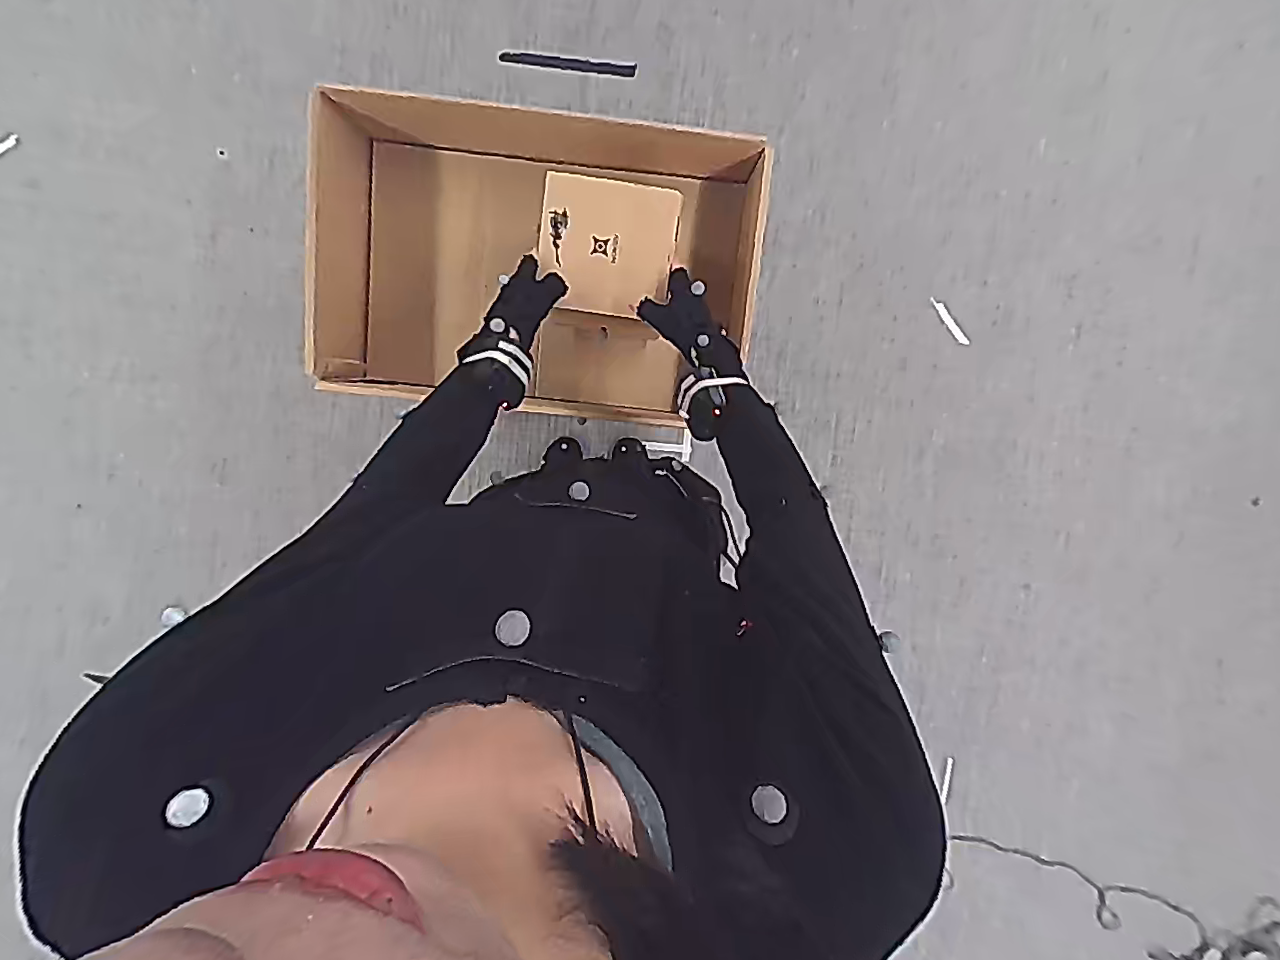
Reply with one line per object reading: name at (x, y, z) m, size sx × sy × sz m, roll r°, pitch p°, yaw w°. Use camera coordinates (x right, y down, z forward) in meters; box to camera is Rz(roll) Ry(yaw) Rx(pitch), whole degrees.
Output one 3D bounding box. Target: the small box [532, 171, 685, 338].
small box at (-0.043, -0.302, 0.763) m, size 0.179 × 0.176 × 0.168 m, roll 8°, pitch 97°, yaw -3°
